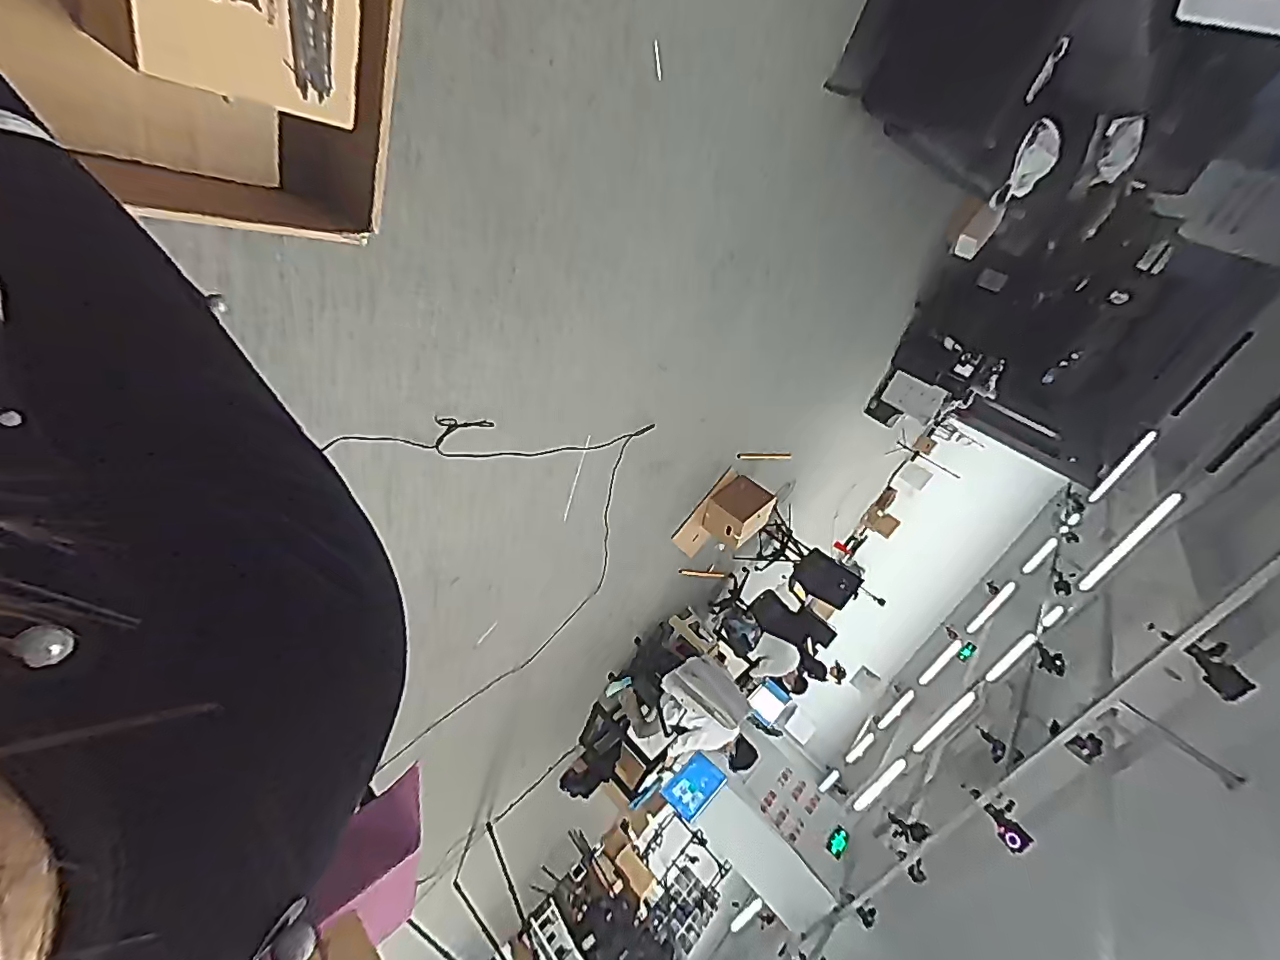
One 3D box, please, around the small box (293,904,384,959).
[{"bbox_3d":[-0.831,1.329,1.480,0.179,0.176,0.168,-19,140,-46],"label":"small box"}]
